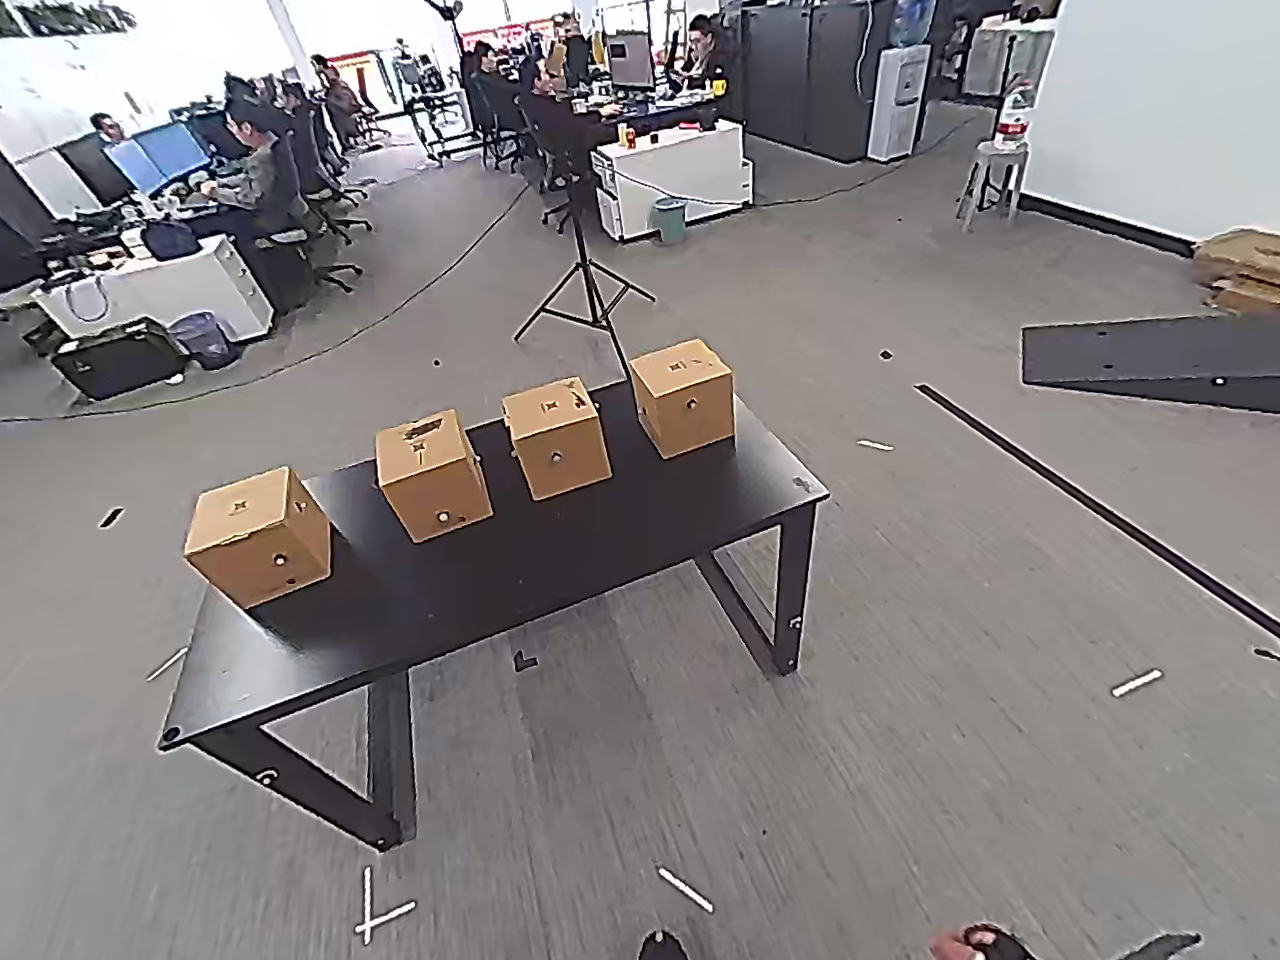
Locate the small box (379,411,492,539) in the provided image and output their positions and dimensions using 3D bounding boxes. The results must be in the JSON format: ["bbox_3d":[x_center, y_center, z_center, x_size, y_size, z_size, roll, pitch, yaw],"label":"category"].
[{"bbox_3d":[-0.419,-0.010,1.111,0.168,0.176,0.179,-20,44,-11],"label":"small box"}]

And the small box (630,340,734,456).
[{"bbox_3d":[0.096,-0.179,1.193,0.179,0.176,0.168,-19,44,-9],"label":"small box"}]

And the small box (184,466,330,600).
[{"bbox_3d":[-0.722,0.108,1.043,0.168,0.176,0.179,-21,43,-14],"label":"small box"}]

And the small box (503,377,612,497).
[{"bbox_3d":[-0.174,-0.089,1.151,0.179,0.176,0.168,-19,43,-8],"label":"small box"}]
